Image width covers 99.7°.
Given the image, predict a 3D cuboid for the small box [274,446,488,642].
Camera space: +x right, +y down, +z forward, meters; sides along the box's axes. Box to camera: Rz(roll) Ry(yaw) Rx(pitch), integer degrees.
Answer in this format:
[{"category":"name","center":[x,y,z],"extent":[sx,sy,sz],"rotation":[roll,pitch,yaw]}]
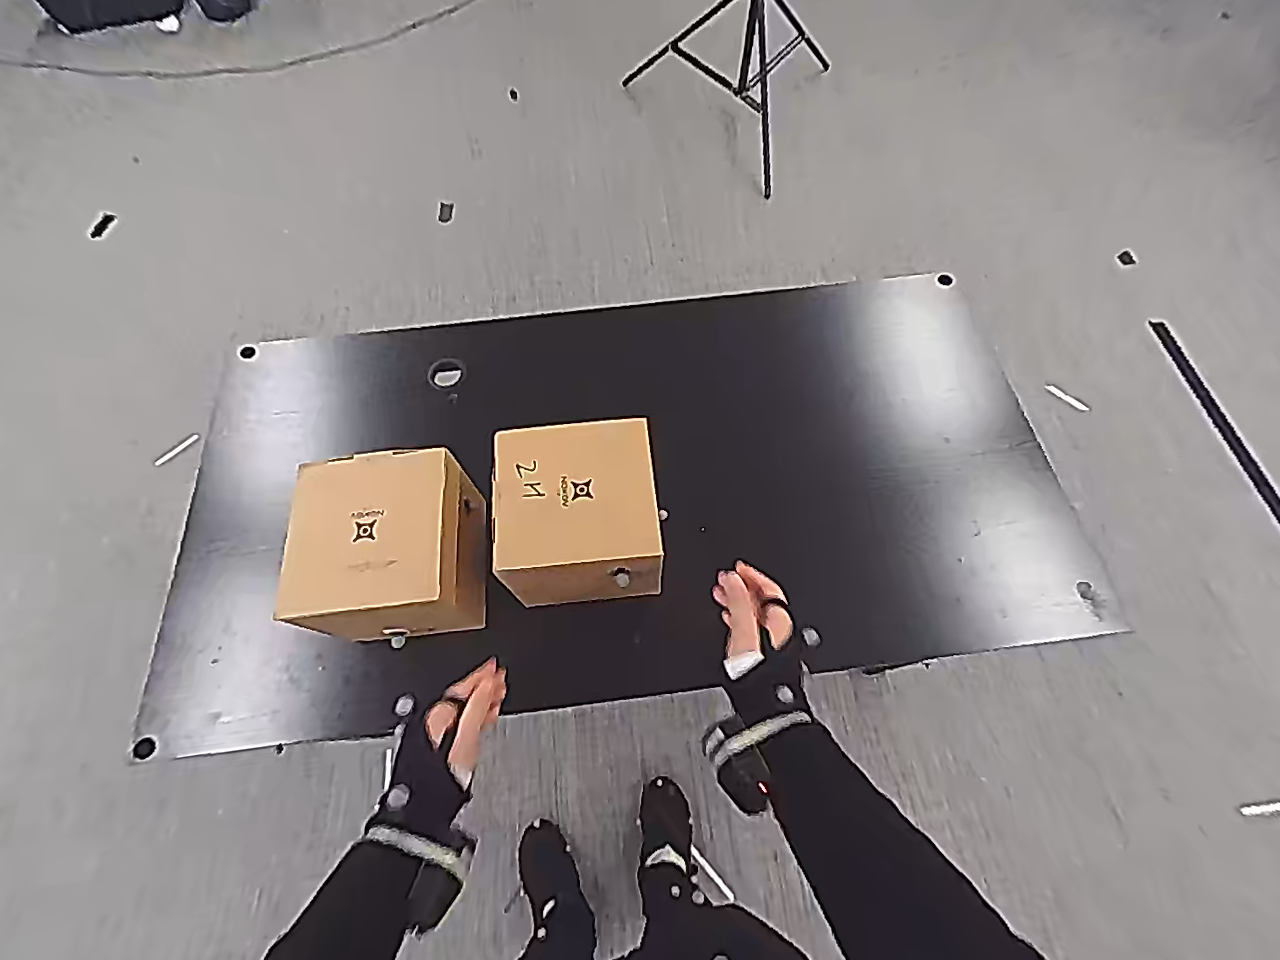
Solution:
[{"category":"small box","center":[-0.284,0.082,0.636],"extent":[0.168,0.176,0.179],"rotation":[-7,66,-1]}]
